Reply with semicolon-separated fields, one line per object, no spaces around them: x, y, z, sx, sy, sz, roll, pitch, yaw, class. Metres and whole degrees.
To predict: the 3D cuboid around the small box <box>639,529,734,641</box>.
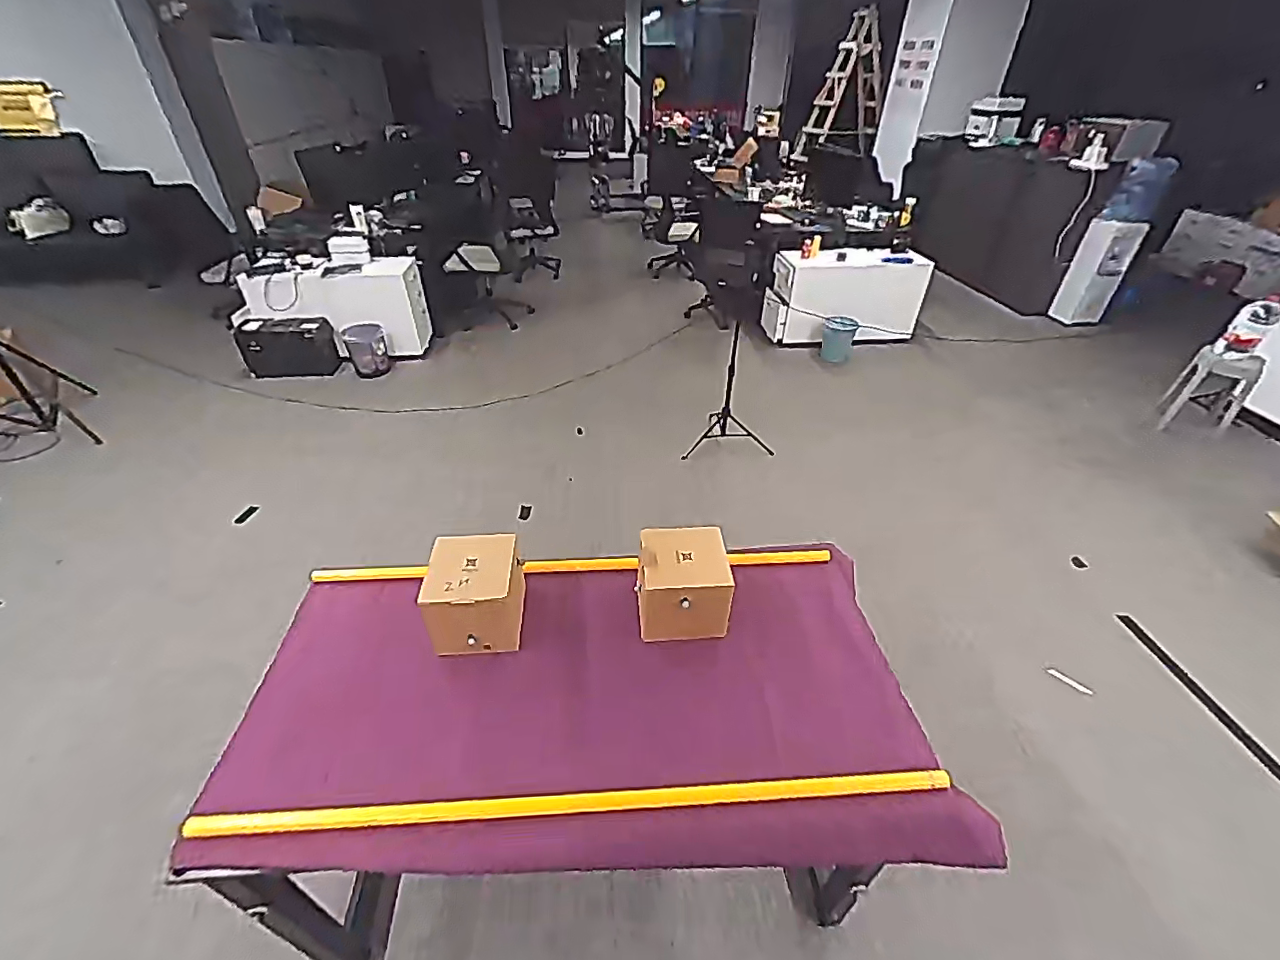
0.089;0.221;1.142;0.179;0.176;0.168;-3;39;-3;small box

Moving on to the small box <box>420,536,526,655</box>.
-0.333;0.235;1.114;0.168;0.176;0.179;-2;39;-3;small box
